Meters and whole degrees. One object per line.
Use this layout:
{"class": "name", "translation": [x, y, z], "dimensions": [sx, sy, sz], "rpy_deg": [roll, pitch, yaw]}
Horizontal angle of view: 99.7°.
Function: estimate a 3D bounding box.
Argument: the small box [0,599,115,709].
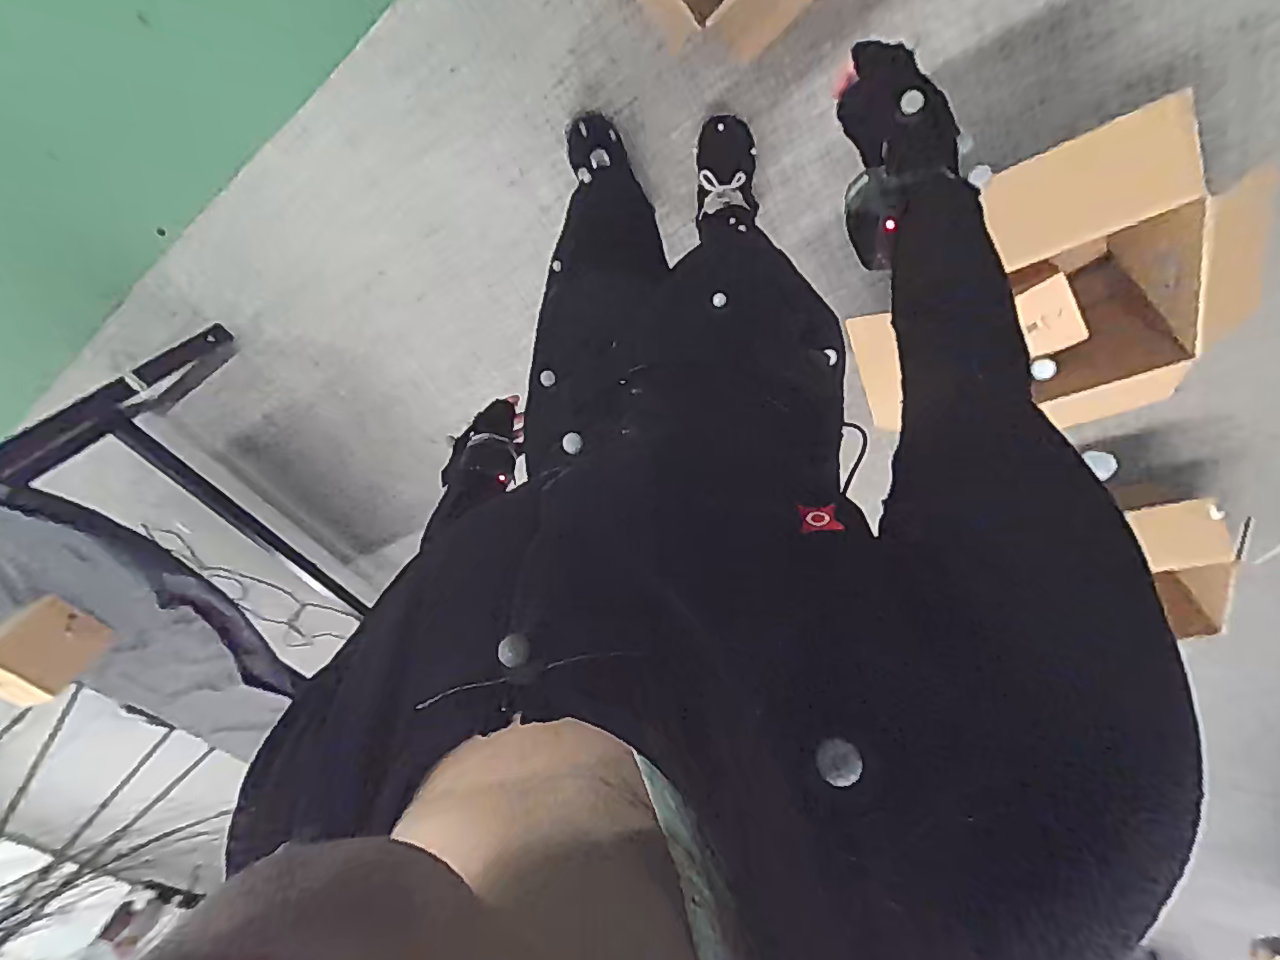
{"class": "small box", "translation": [-1.388, 0.400, 1.246], "dimensions": [0.179, 0.176, 0.168], "rpy_deg": [-19, 124, 23]}
